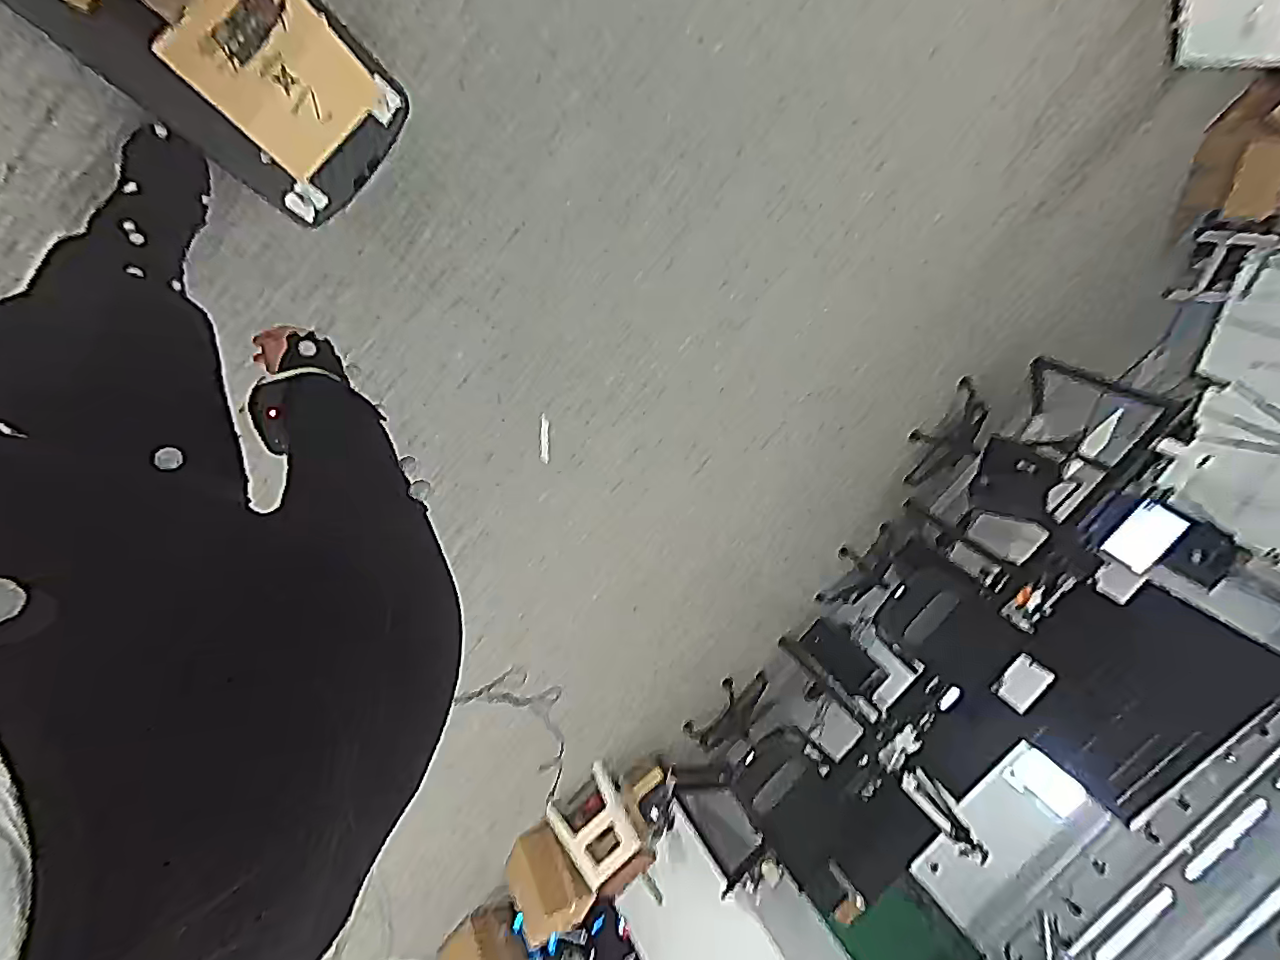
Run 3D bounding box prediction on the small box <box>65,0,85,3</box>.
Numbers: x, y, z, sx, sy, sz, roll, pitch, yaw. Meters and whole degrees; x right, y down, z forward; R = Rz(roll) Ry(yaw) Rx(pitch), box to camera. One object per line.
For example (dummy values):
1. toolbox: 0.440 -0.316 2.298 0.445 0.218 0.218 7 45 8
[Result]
1. small box: -0.610 -0.622 0.531 0.179 0.176 0.168 -48 138 2
